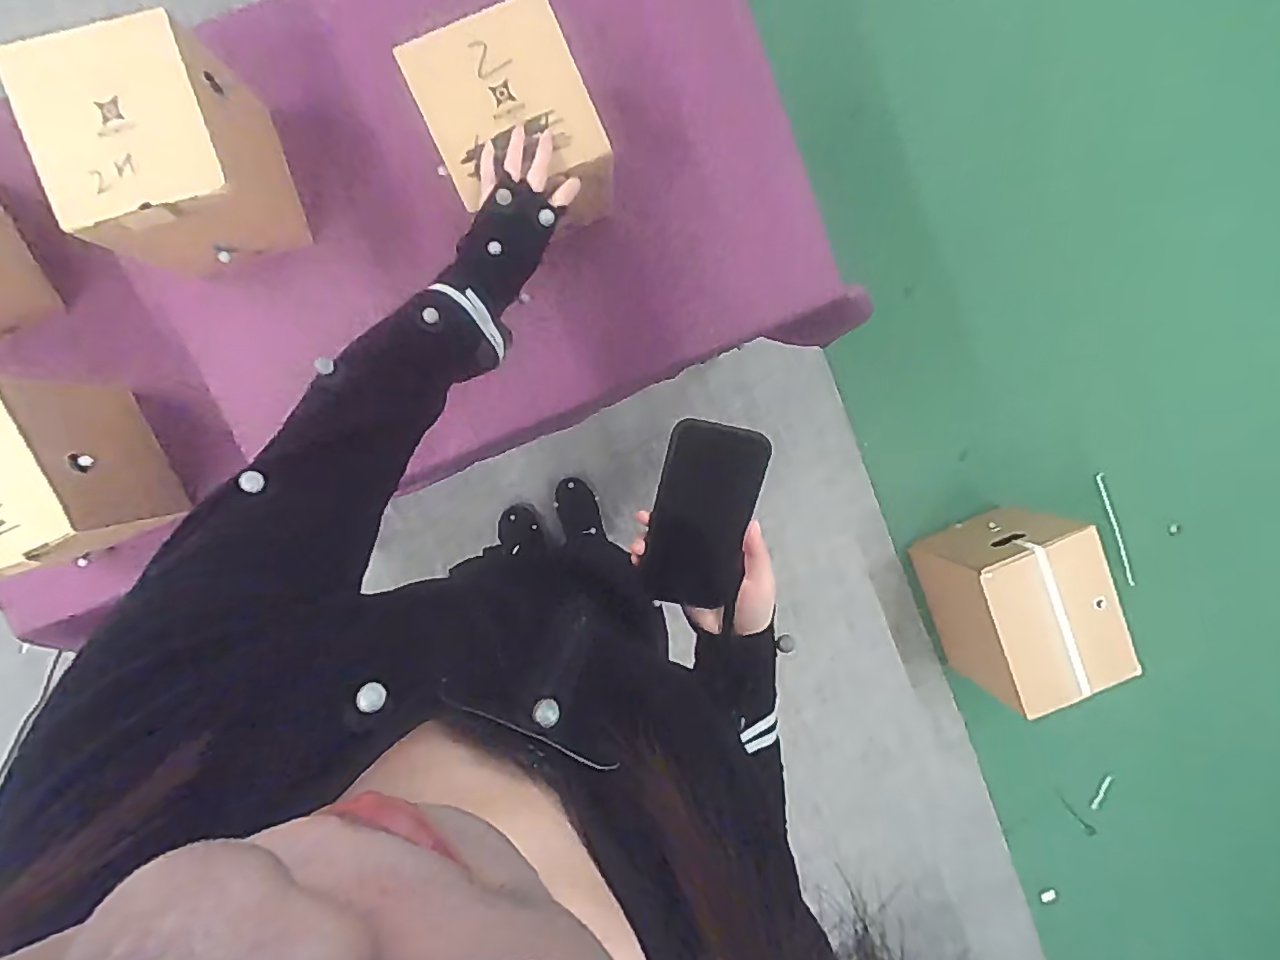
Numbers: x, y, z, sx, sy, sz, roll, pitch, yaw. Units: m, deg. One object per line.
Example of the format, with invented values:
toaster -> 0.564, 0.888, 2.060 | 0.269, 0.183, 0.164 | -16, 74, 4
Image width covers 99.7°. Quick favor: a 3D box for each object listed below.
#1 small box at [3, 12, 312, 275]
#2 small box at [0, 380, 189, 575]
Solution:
small box -> -0.512, -0.356, 0.605 | 0.168, 0.176, 0.179 | -16, 96, -3
small box -> -0.688, -0.002, 0.625 | 0.168, 0.176, 0.179 | -24, 95, -3
